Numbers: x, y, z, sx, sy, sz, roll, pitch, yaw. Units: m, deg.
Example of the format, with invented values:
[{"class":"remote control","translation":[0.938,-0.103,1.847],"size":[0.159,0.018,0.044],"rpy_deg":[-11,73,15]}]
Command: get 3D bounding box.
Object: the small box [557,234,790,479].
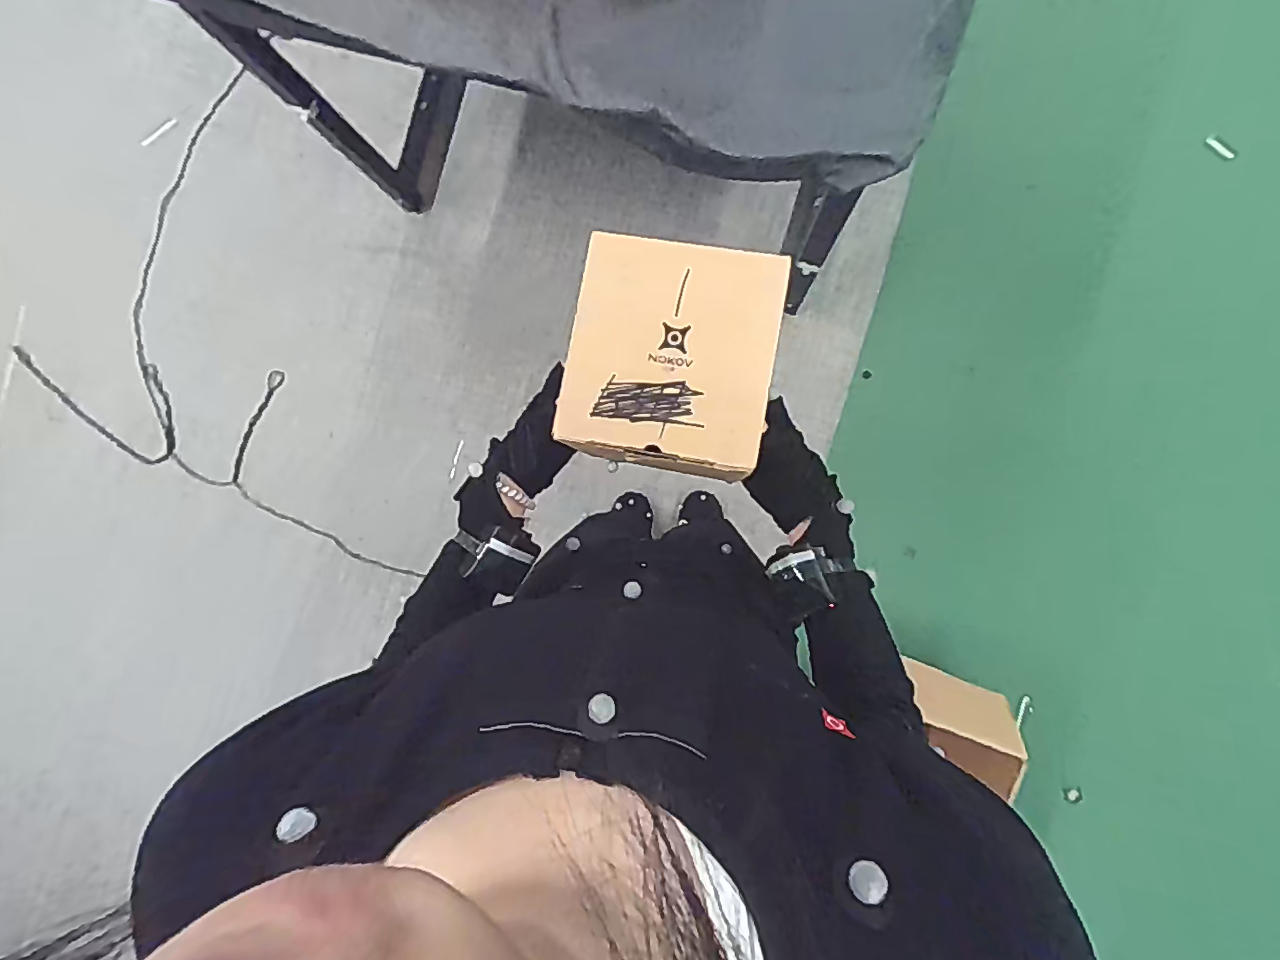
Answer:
[{"class":"small box","translation":[0.033,-0.100,0.515],"size":[0.168,0.176,0.179],"rpy_deg":[10,87,5]}]
